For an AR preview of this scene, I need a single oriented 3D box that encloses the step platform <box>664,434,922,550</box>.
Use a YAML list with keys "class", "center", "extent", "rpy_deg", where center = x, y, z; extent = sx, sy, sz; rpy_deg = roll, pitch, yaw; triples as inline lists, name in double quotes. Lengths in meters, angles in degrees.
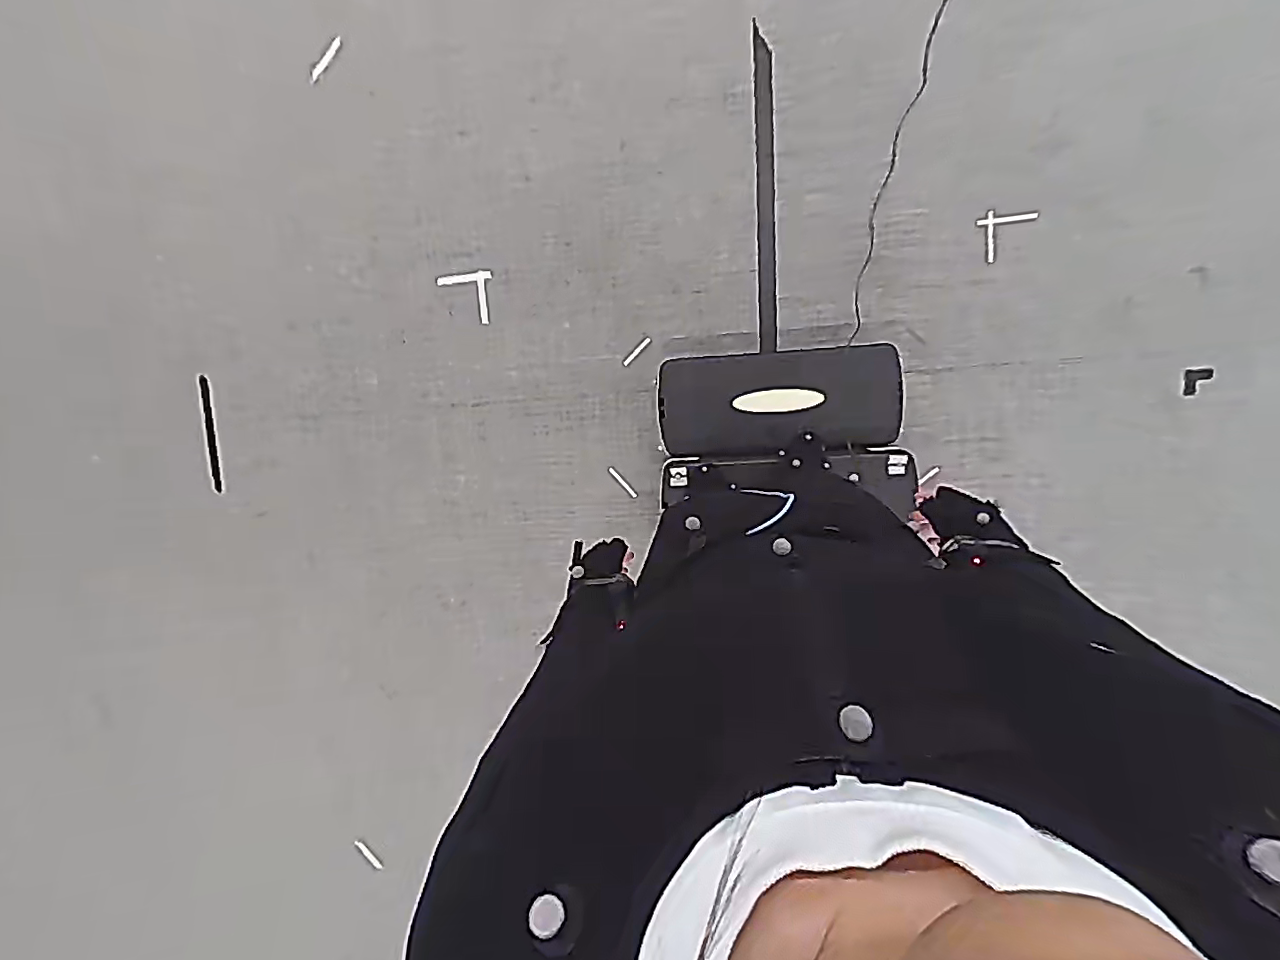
- class: "step platform"
  center: [0.409, 0.036, 1.518]
  extent: [0.684, 0.204, 0.286]
  rpy_deg: [-4, 94, 8]
